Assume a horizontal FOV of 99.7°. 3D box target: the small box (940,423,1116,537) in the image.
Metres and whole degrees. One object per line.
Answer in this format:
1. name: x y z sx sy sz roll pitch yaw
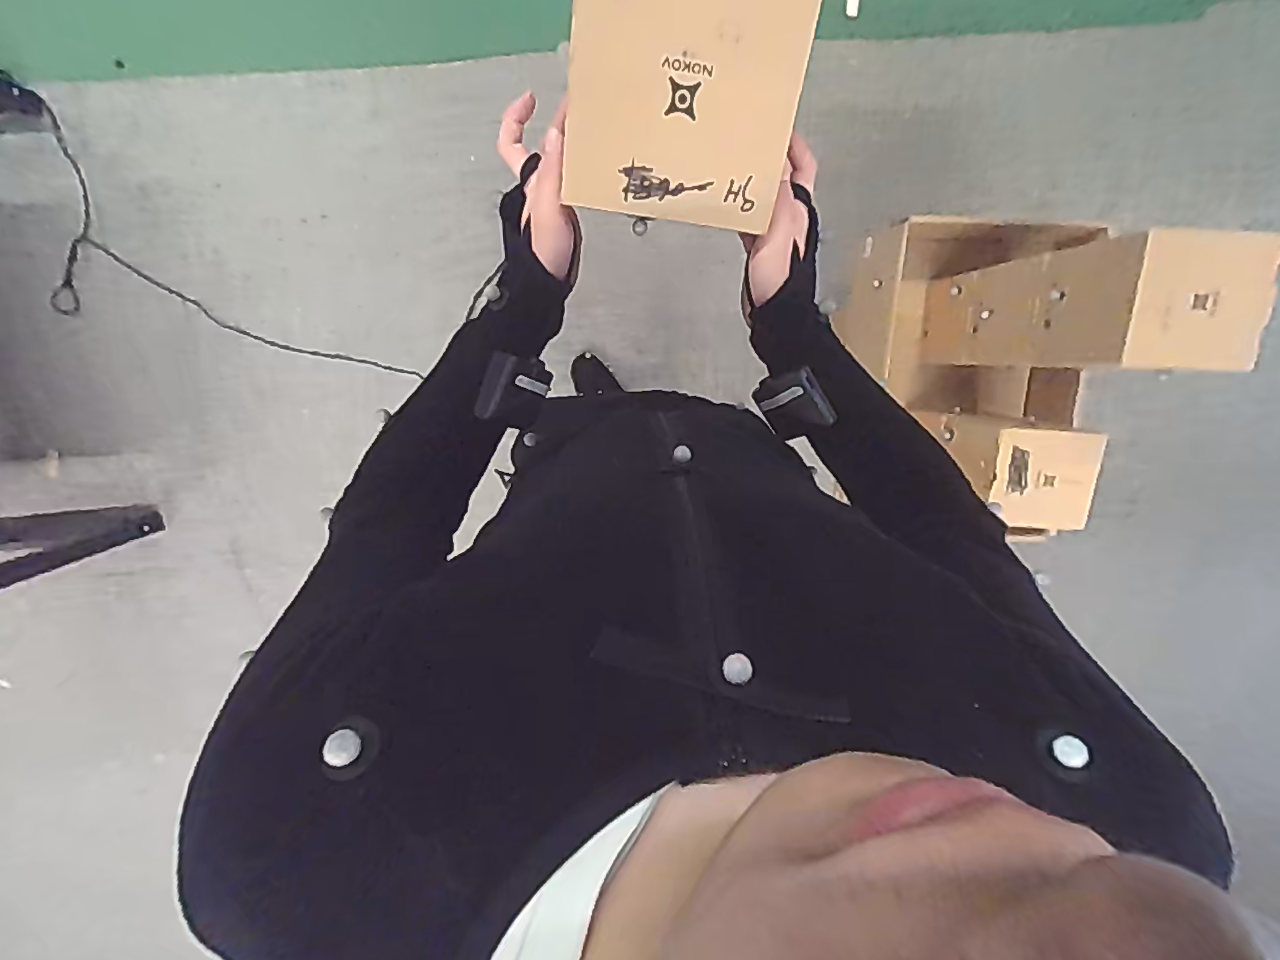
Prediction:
1. small box: 0.663 -0.008 0.948 0.179 0.176 0.168 3 103 -1

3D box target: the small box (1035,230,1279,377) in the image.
1. small box: 0.692 -0.229 0.732 0.179 0.176 0.168 2 102 -1

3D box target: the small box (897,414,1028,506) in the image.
1. small box: 0.661 -0.043 1.109 0.179 0.176 0.168 3 102 0

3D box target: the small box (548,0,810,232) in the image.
1. small box: 0.019 -0.311 0.441 0.168 0.176 0.179 5 116 -6

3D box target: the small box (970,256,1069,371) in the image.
1. small box: 0.690 -0.265 0.890 0.179 0.176 0.168 1 102 -1
